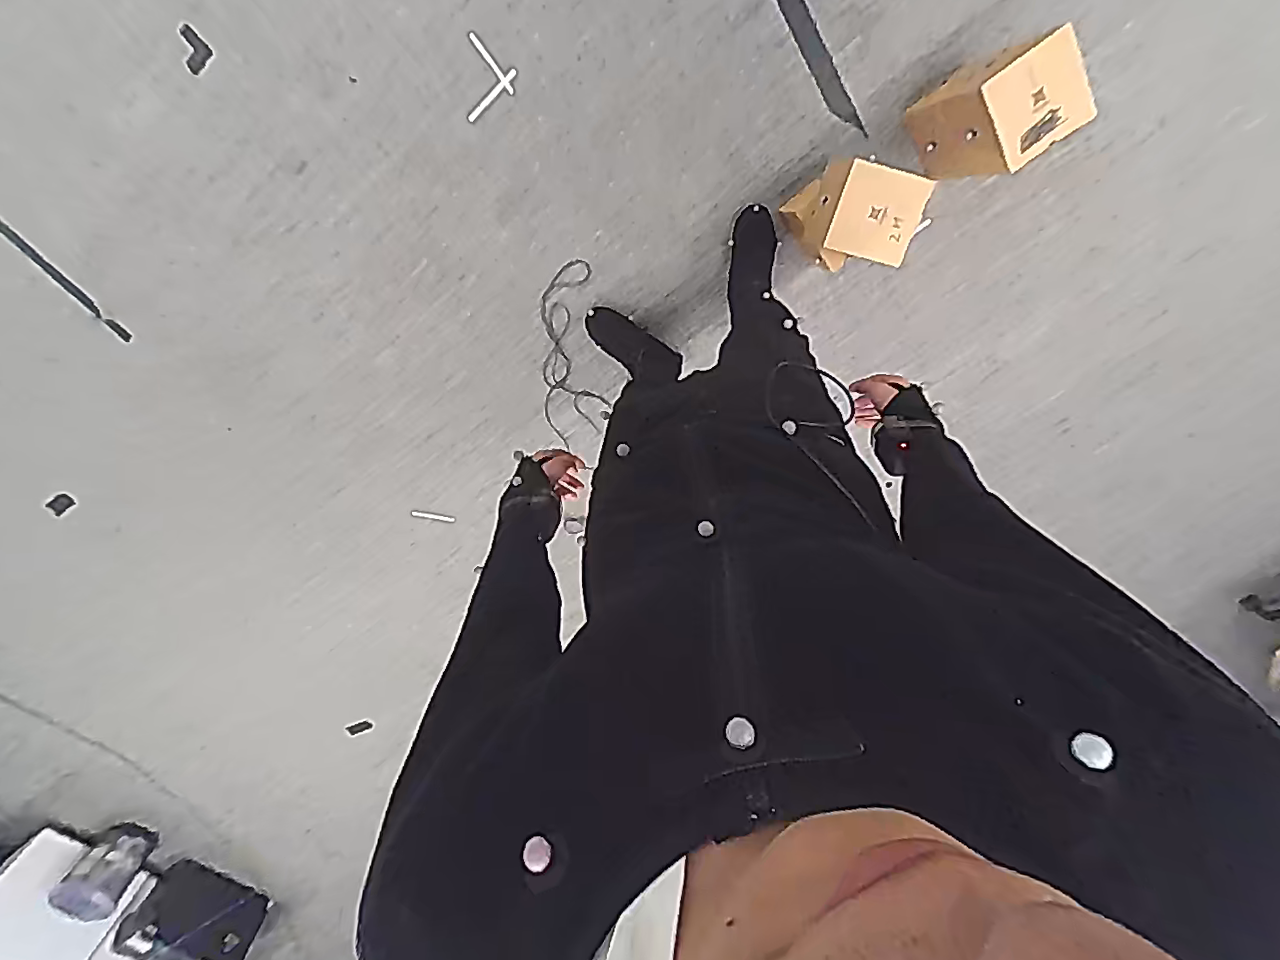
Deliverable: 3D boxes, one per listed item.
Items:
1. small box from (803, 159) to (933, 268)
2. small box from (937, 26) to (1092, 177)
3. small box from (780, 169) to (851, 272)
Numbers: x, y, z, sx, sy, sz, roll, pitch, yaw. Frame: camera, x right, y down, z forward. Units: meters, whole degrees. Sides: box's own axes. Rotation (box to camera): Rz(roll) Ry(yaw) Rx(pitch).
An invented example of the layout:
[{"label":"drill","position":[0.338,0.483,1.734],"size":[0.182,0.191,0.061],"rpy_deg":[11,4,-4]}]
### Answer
[{"label":"small box","position":[0.473,-0.568,1.157],"size":[0.179,0.176,0.168],"rpy_deg":[12,117,-7]},{"label":"small box","position":[0.731,-0.733,1.070],"size":[0.168,0.176,0.179],"rpy_deg":[-33,112,15]},{"label":"small box","position":[0.465,-0.634,1.307],"size":[0.168,0.176,0.179],"rpy_deg":[-36,112,17]}]
